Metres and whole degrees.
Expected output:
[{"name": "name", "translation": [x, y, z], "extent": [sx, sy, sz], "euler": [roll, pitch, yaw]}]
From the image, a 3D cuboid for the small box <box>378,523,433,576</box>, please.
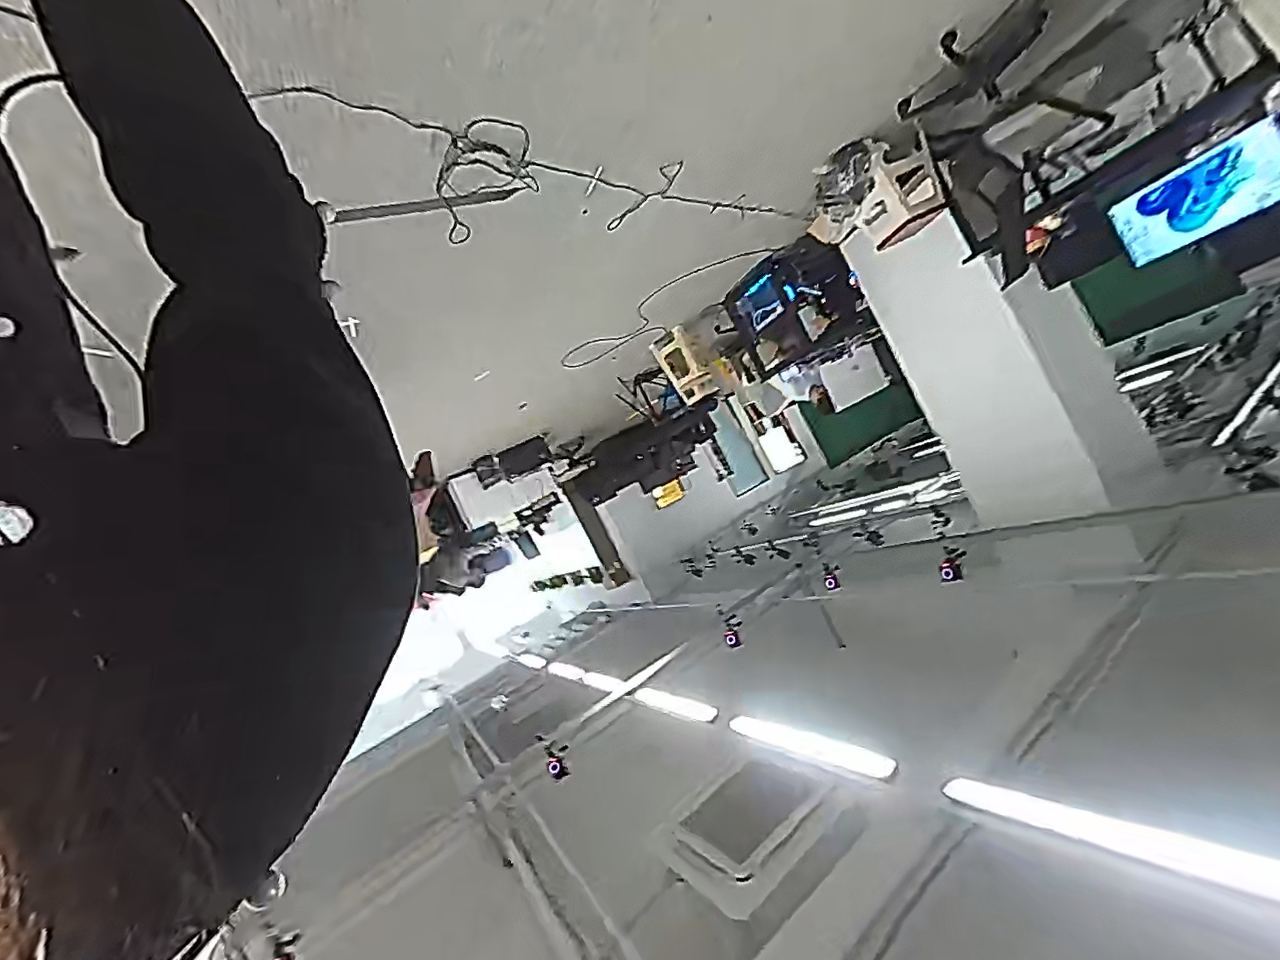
[{"name": "small box", "translation": [-1.051, 0.309, 2.416], "extent": [0.168, 0.176, 0.179], "euler": [-27, 178, -33]}]
